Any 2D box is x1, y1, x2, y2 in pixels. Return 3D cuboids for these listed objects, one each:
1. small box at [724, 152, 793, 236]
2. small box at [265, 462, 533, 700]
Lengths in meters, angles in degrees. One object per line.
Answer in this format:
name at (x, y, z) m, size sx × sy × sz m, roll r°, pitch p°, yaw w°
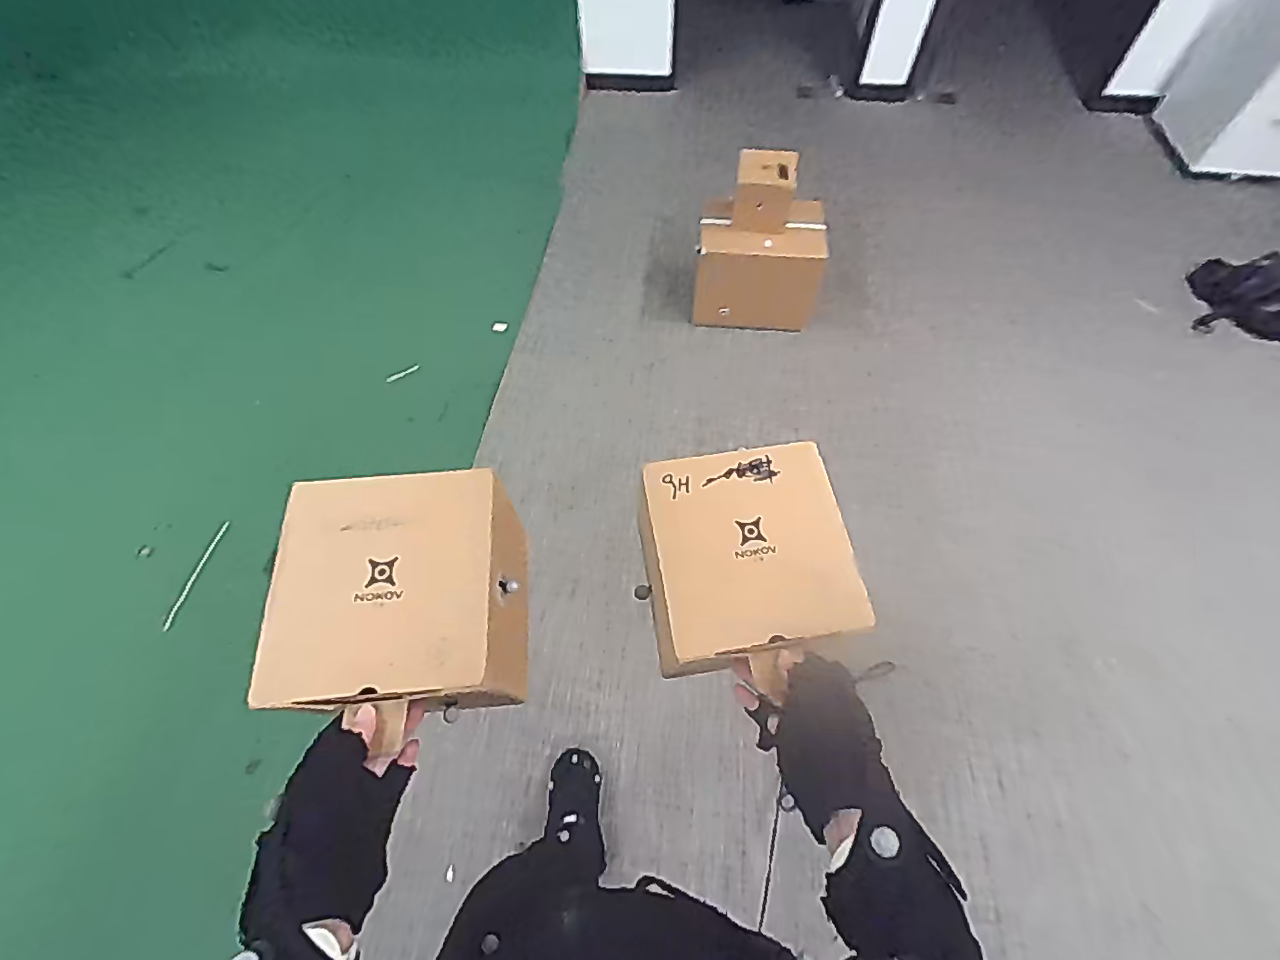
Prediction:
small box at (0.376, -0.908, 1.727) m, size 0.179 × 0.176 × 0.168 m, roll 10°, pitch 63°, yaw 6°
small box at (-0.193, 0.102, 0.495) m, size 0.168 × 0.176 × 0.179 m, roll -4°, pitch 64°, yaw -3°
